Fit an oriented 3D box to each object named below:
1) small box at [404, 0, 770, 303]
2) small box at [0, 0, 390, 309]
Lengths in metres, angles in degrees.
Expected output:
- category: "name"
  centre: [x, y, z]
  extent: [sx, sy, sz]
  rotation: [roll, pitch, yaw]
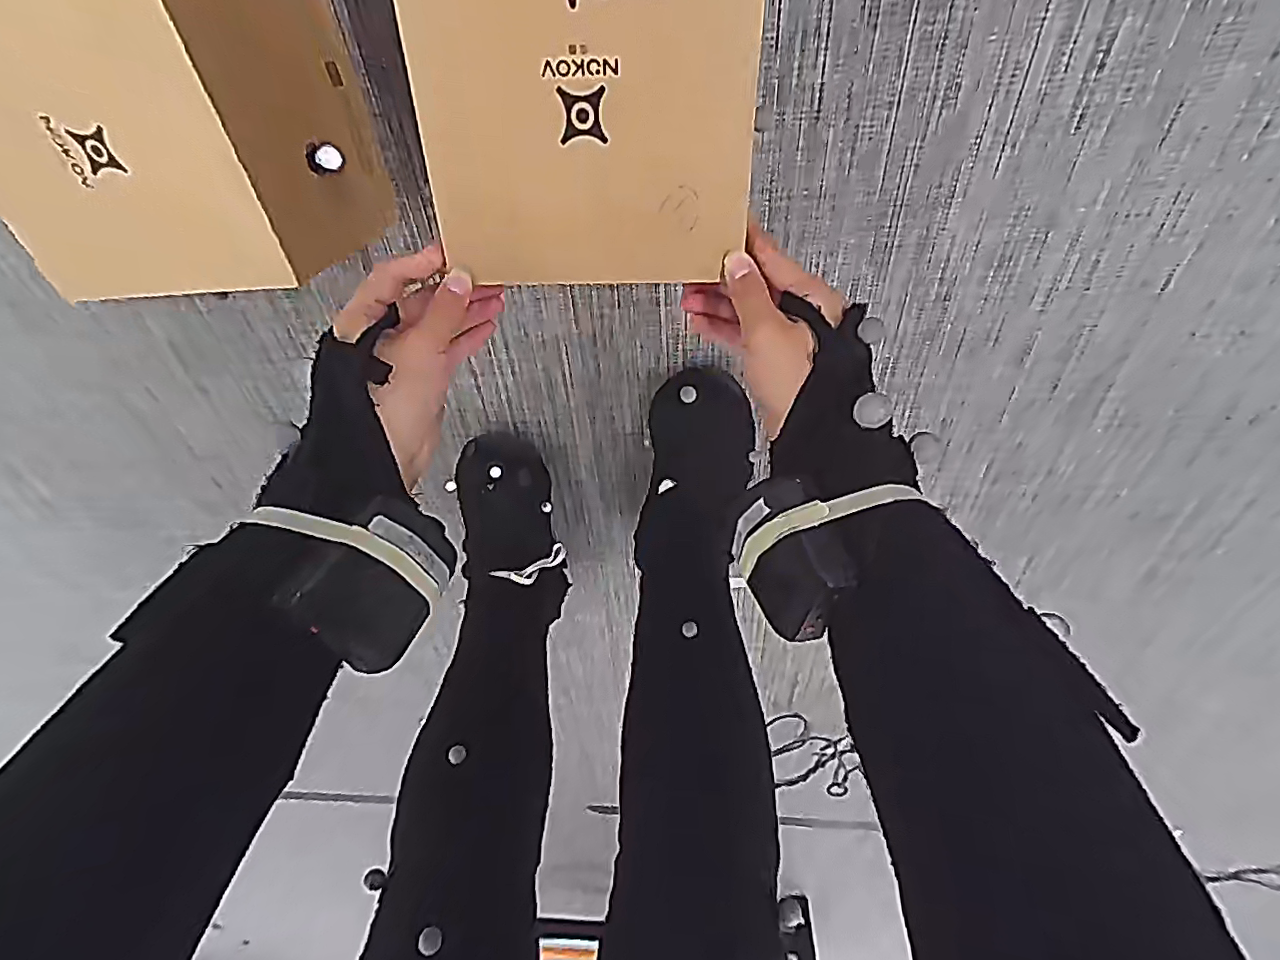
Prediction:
- category: "small box"
  centre: [-0.021, -0.218, 0.330]
  extent: [0.168, 0.176, 0.179]
  rotation: [0, 122, 1]
- category: "small box"
  centre: [-0.298, -0.231, 0.367]
  extent: [0.179, 0.176, 0.168]
  rotation: [-1, 130, 6]
